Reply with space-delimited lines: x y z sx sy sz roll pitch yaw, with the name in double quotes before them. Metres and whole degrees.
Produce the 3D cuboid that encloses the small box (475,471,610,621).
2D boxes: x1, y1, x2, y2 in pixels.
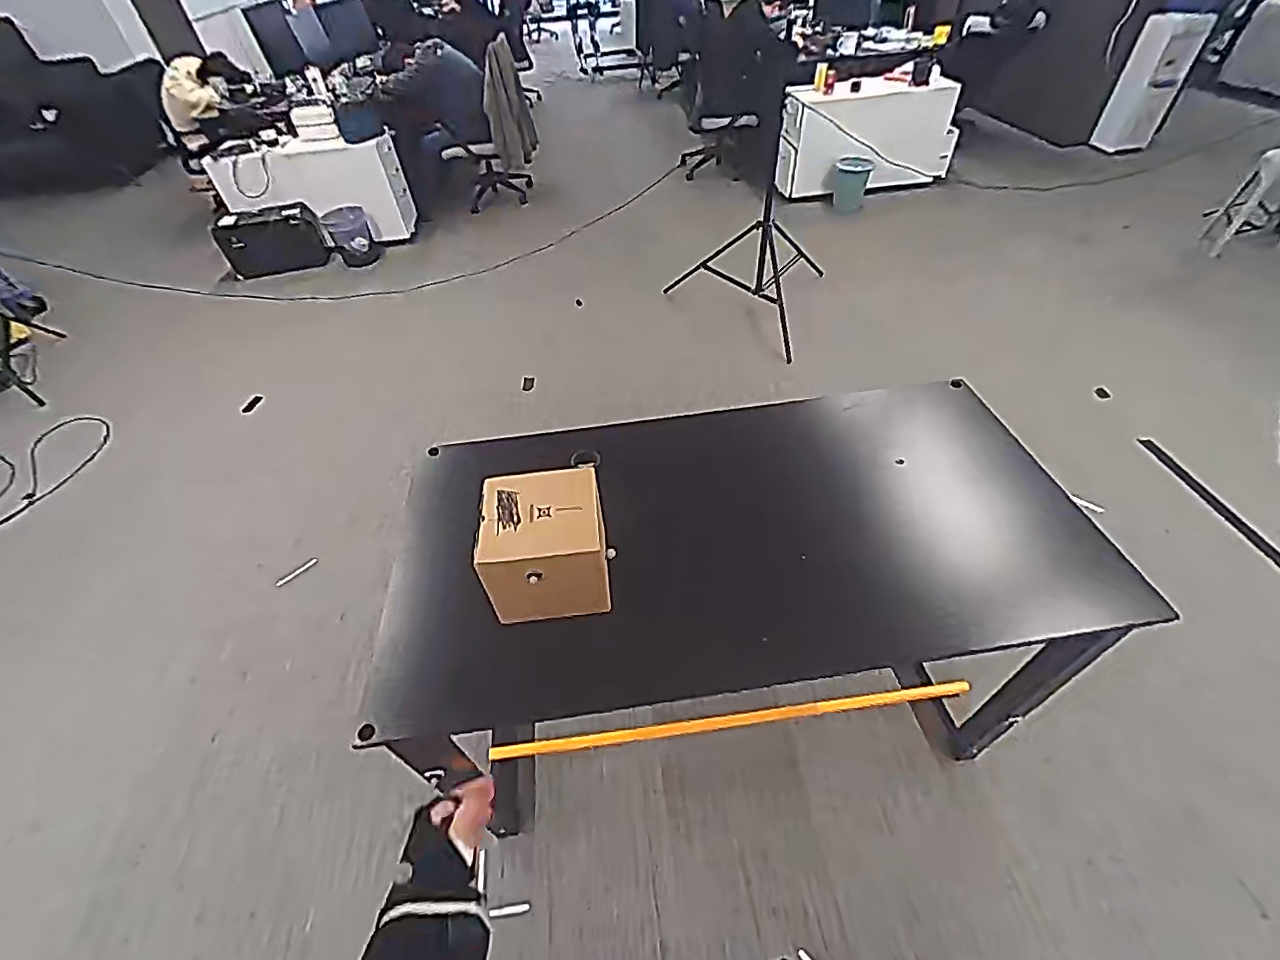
"small box" -0.147 0.108 0.861 0.179 0.176 0.168 -6 46 -3
